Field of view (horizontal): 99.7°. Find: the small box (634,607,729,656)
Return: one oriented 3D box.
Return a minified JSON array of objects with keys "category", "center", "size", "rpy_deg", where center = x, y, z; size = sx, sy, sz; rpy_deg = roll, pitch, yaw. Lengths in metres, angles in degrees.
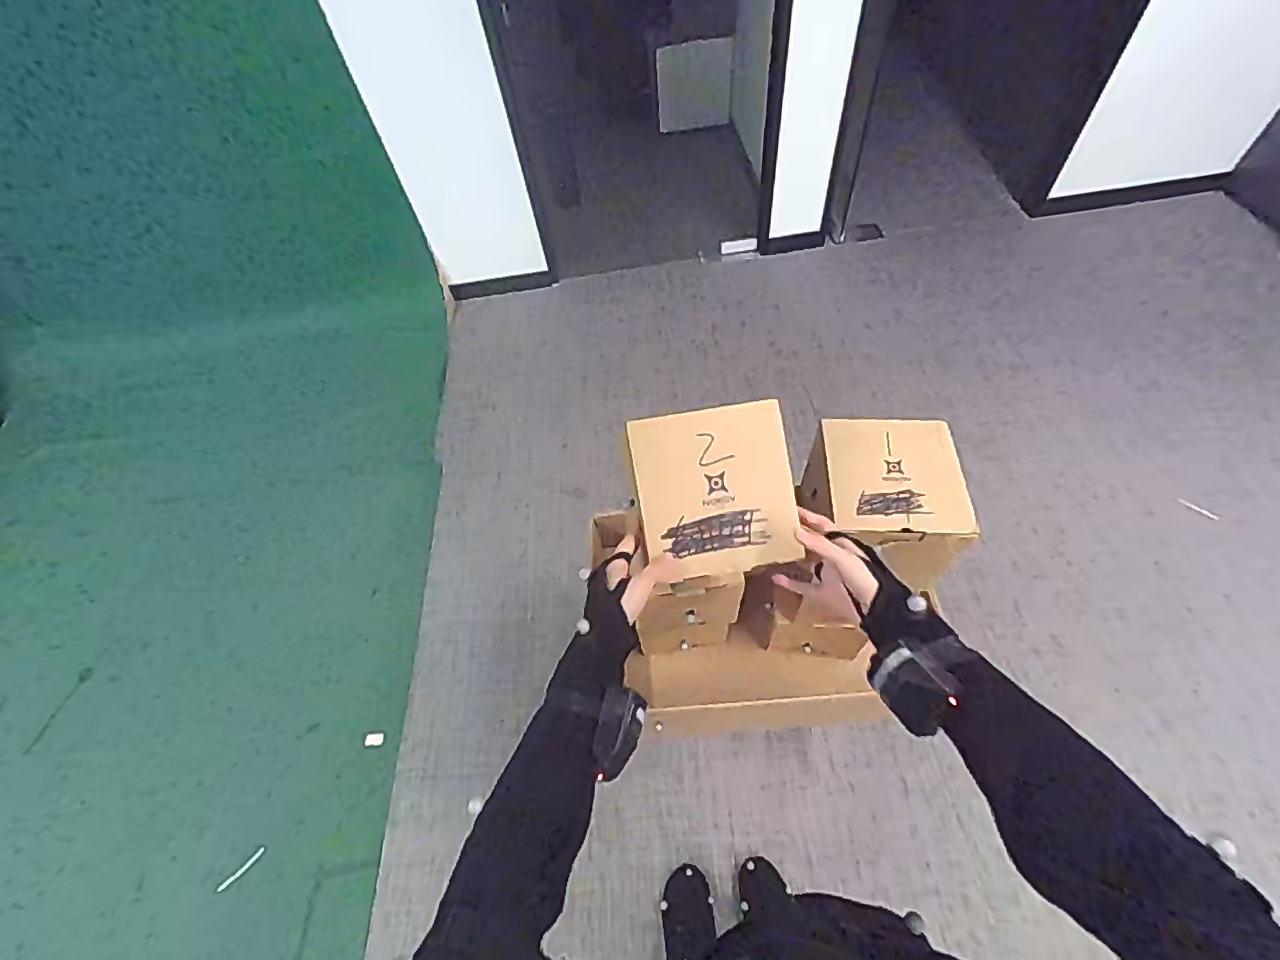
[{"category":"small box","center":[0.071,0.219,1.039],"size":[0.168,0.176,0.179],"rpy_deg":[-8,56,0]}]

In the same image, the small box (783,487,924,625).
[{"category":"small box","center":[0.332,0.127,0.878],"size":[0.168,0.176,0.179],"rpy_deg":[-1,56,5]}]

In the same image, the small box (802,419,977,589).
[{"category":"small box","center":[0.323,0.037,0.741],"size":[0.168,0.176,0.179],"rpy_deg":[2,56,6]}]

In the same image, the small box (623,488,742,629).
[{"category":"small box","center":[0.068,0.138,0.896],"size":[0.168,0.176,0.179],"rpy_deg":[-8,56,0]}]
